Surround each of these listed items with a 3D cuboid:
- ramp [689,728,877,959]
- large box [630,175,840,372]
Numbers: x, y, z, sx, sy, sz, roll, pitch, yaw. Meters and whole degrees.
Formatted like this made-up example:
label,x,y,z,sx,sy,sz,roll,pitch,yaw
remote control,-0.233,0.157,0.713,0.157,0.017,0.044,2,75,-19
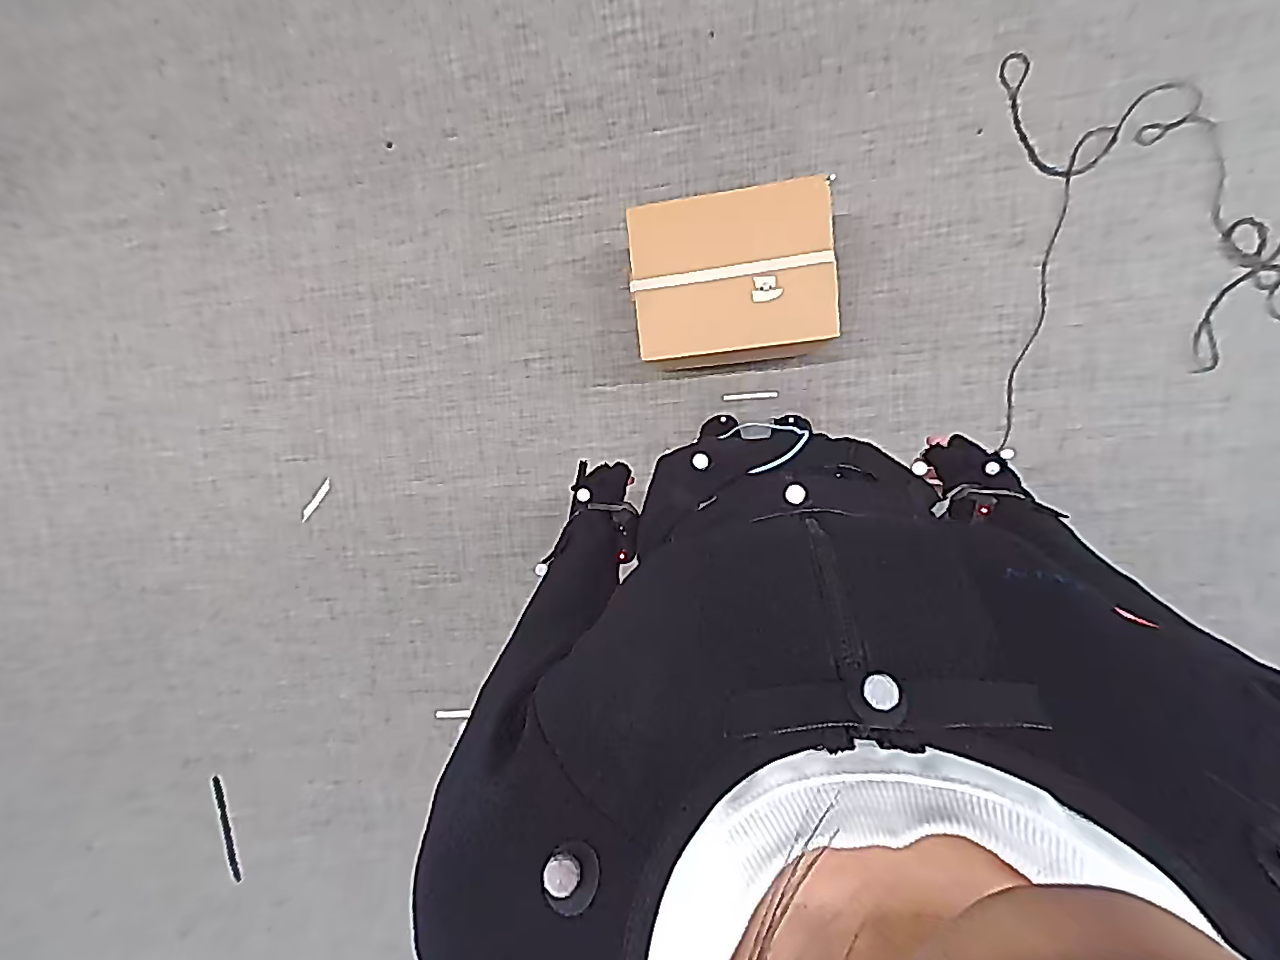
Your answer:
label,x,y,z,sx,sy,sz,roll,pitch,yaw
ramp,0.385,1.200,1.478,0.509,0.206,0.991,-3,96,11
large box,0.210,-0.440,1.245,0.408,0.320,0.320,-5,96,9
